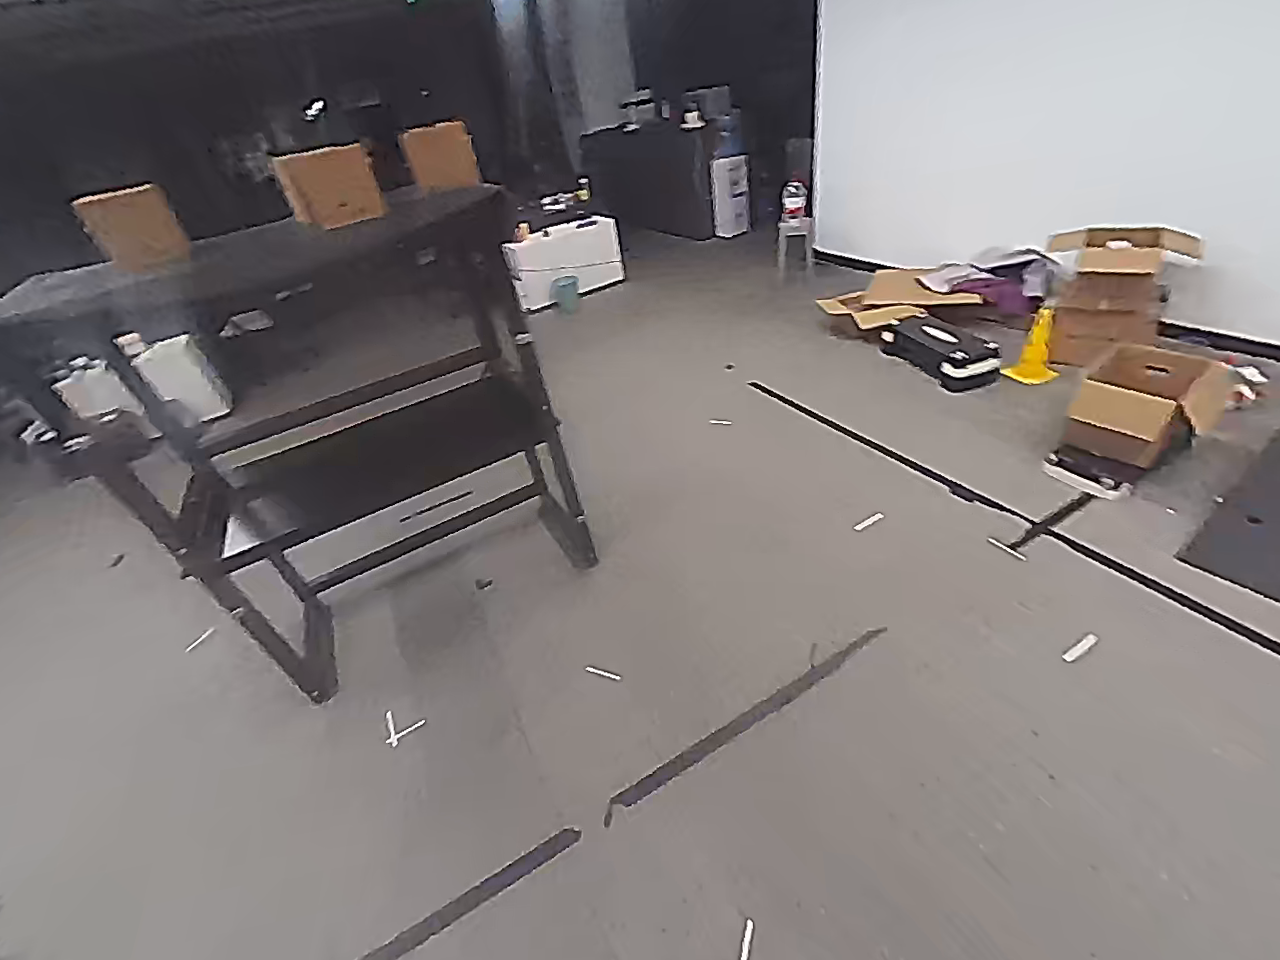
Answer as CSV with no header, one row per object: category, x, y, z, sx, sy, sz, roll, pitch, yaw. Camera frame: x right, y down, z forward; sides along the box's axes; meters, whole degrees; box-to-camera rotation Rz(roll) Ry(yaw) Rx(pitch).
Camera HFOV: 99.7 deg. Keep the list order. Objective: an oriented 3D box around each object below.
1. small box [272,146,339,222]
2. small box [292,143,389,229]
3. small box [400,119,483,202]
small box,-0.960,-0.883,1.617,0.168,0.176,0.179,-32,41,-25
small box,-0.777,-0.765,1.410,0.168,0.176,0.179,-25,37,-17
small box,-0.550,-0.888,1.507,0.168,0.176,0.179,-20,35,-10
